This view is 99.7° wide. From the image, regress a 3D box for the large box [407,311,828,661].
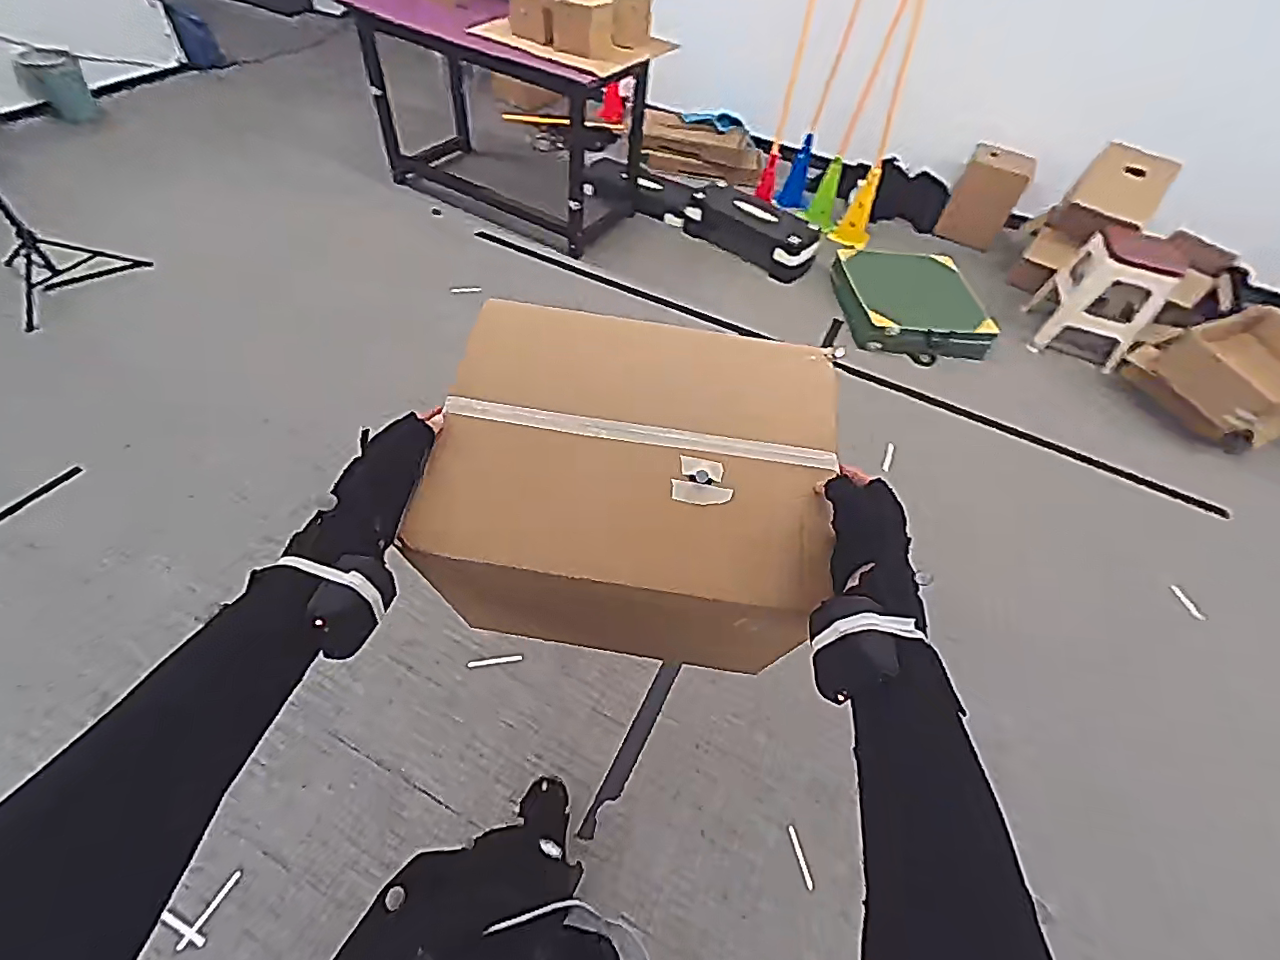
[{"bbox_3d":[-0.015,0.027,0.700,0.408,0.320,0.320,9,62,0],"label":"large box"}]
